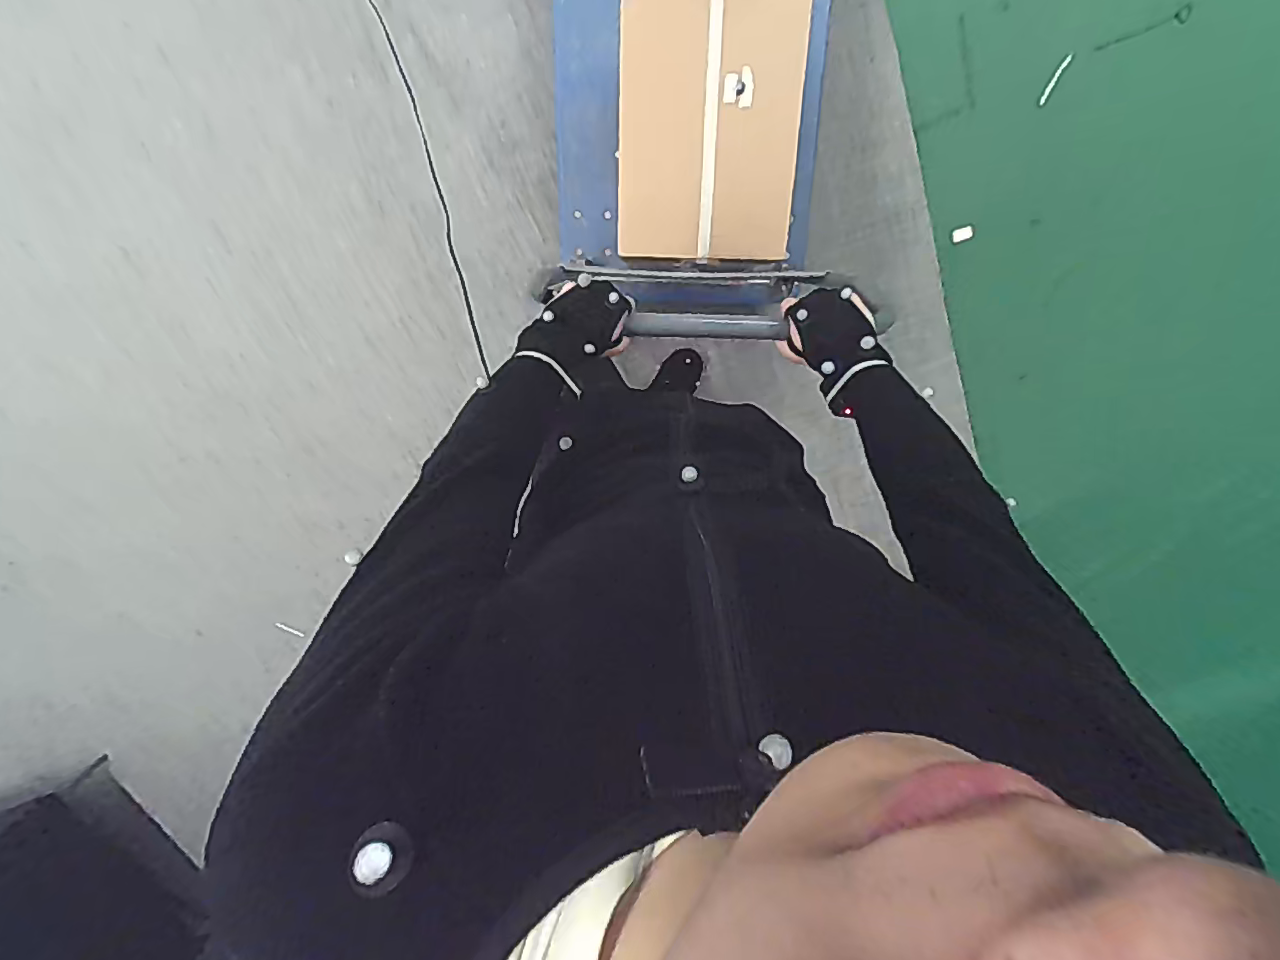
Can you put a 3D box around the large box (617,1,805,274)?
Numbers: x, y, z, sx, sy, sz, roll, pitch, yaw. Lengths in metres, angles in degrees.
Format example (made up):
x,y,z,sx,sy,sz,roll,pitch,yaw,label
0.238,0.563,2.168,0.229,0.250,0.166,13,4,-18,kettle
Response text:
x,y,z,sx,sy,sz,roll,pitch,yaw,label
0.120,-0.637,1.087,0.320,0.320,0.408,2,108,0,large box
